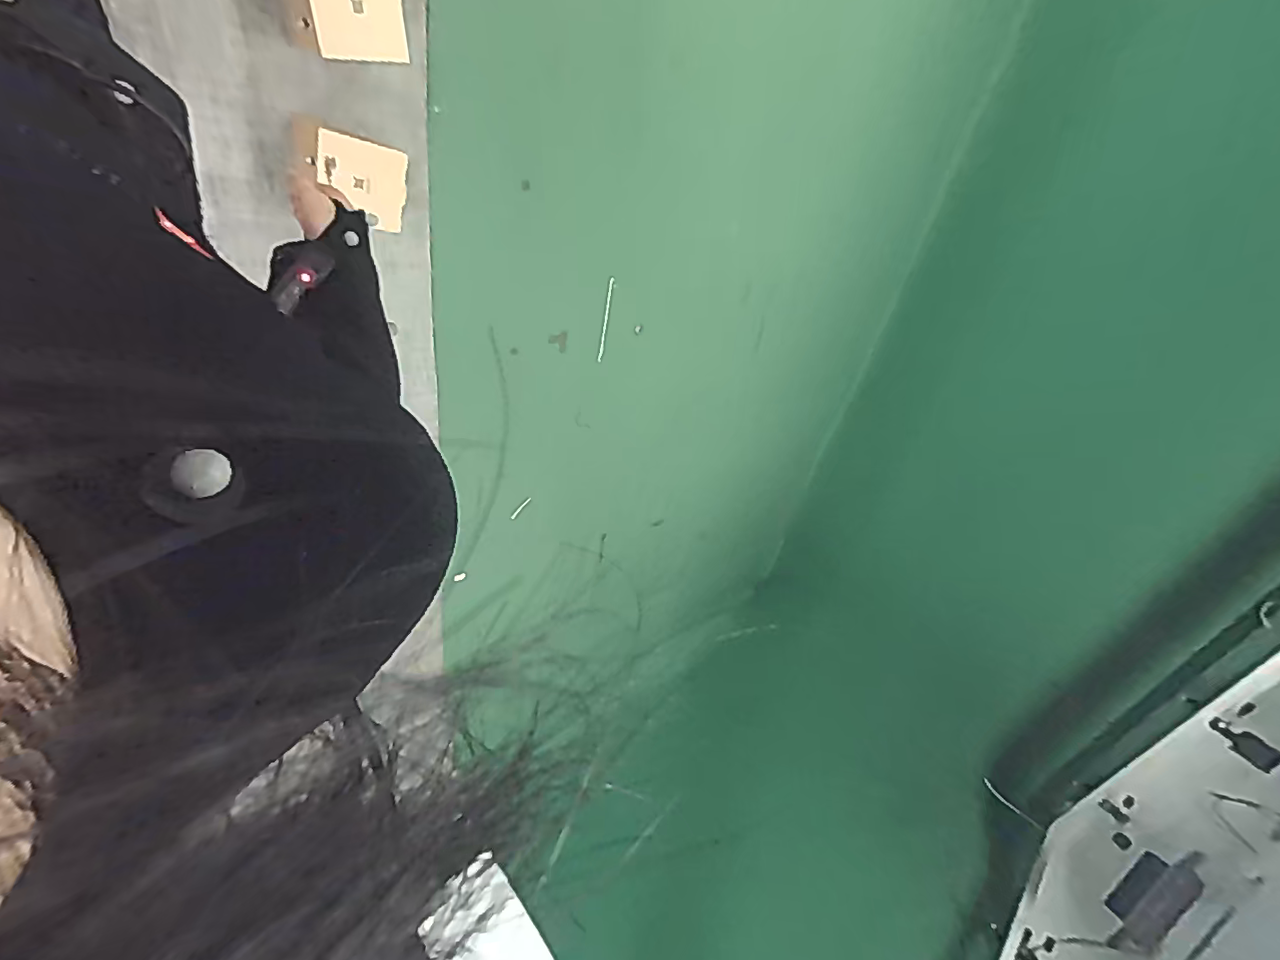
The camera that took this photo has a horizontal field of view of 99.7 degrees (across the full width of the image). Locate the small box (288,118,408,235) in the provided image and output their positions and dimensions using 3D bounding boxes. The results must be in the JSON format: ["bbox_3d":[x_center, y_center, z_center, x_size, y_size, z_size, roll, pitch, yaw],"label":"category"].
[{"bbox_3d":[-0.631,-0.653,1.166,0.179,0.176,0.168,-10,130,-46],"label":"small box"}]

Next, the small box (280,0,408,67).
[{"bbox_3d":[-0.562,-0.898,1.012,0.168,0.176,0.179,-26,140,-34],"label":"small box"}]
